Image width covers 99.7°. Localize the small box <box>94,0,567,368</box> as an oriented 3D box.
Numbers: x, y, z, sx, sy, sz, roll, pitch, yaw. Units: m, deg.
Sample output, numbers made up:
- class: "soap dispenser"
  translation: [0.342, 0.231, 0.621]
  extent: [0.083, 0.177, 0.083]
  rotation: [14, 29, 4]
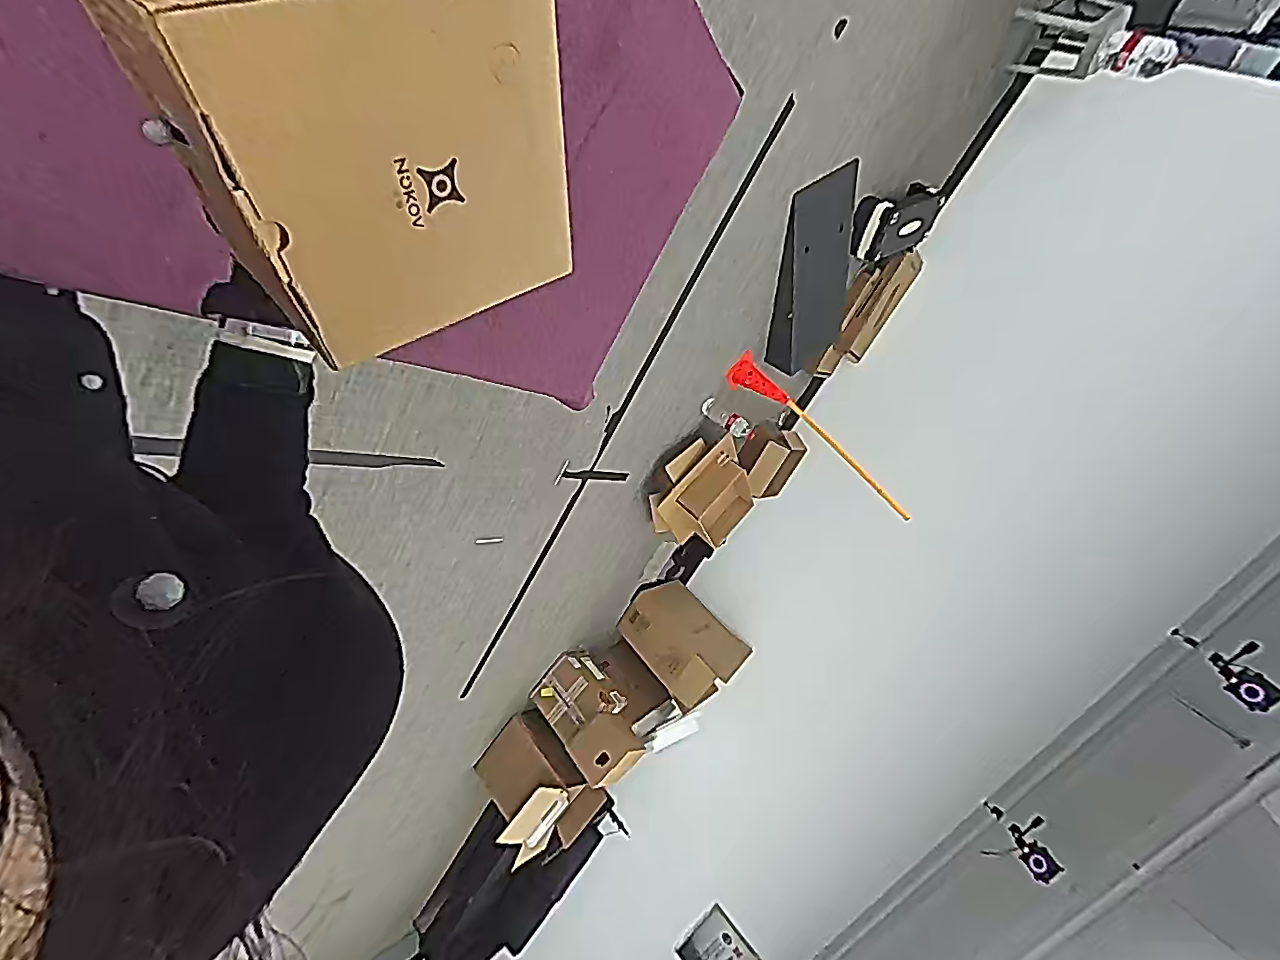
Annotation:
- class: "small box"
  translation: [-0.167, -0.208, 0.331]
  extent: [0.179, 0.176, 0.168]
  rotation: [-35, 152, -25]
